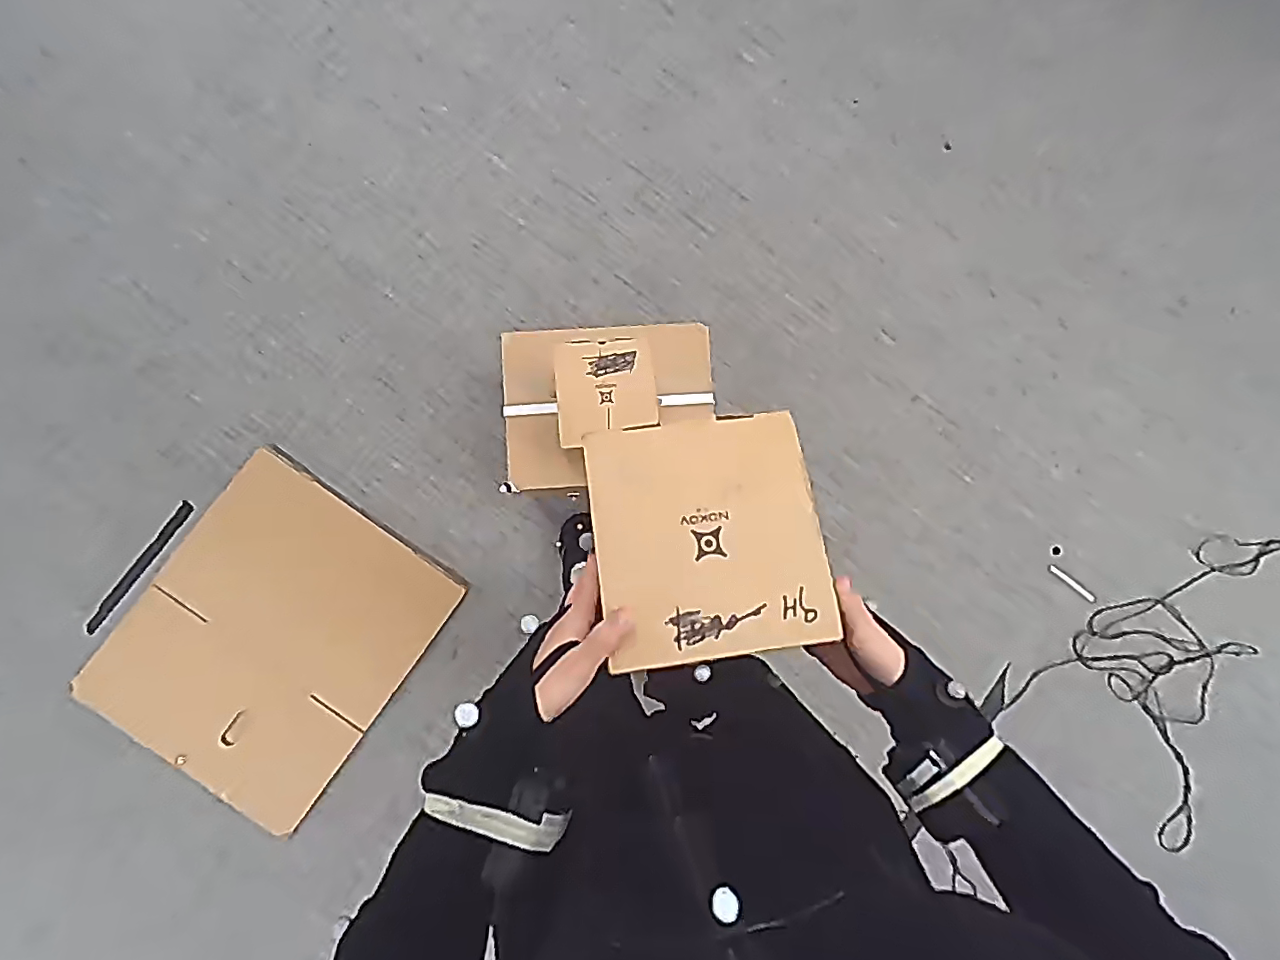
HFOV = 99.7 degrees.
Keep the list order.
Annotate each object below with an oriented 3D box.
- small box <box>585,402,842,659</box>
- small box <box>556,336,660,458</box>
[{"bbox_3d":[0.044,0.053,0.467,0.168,0.176,0.179,-8,74,-5],"label":"small box"},{"bbox_3d":[-0.057,-0.140,0.959,0.168,0.176,0.179,-5,87,-3],"label":"small box"}]
